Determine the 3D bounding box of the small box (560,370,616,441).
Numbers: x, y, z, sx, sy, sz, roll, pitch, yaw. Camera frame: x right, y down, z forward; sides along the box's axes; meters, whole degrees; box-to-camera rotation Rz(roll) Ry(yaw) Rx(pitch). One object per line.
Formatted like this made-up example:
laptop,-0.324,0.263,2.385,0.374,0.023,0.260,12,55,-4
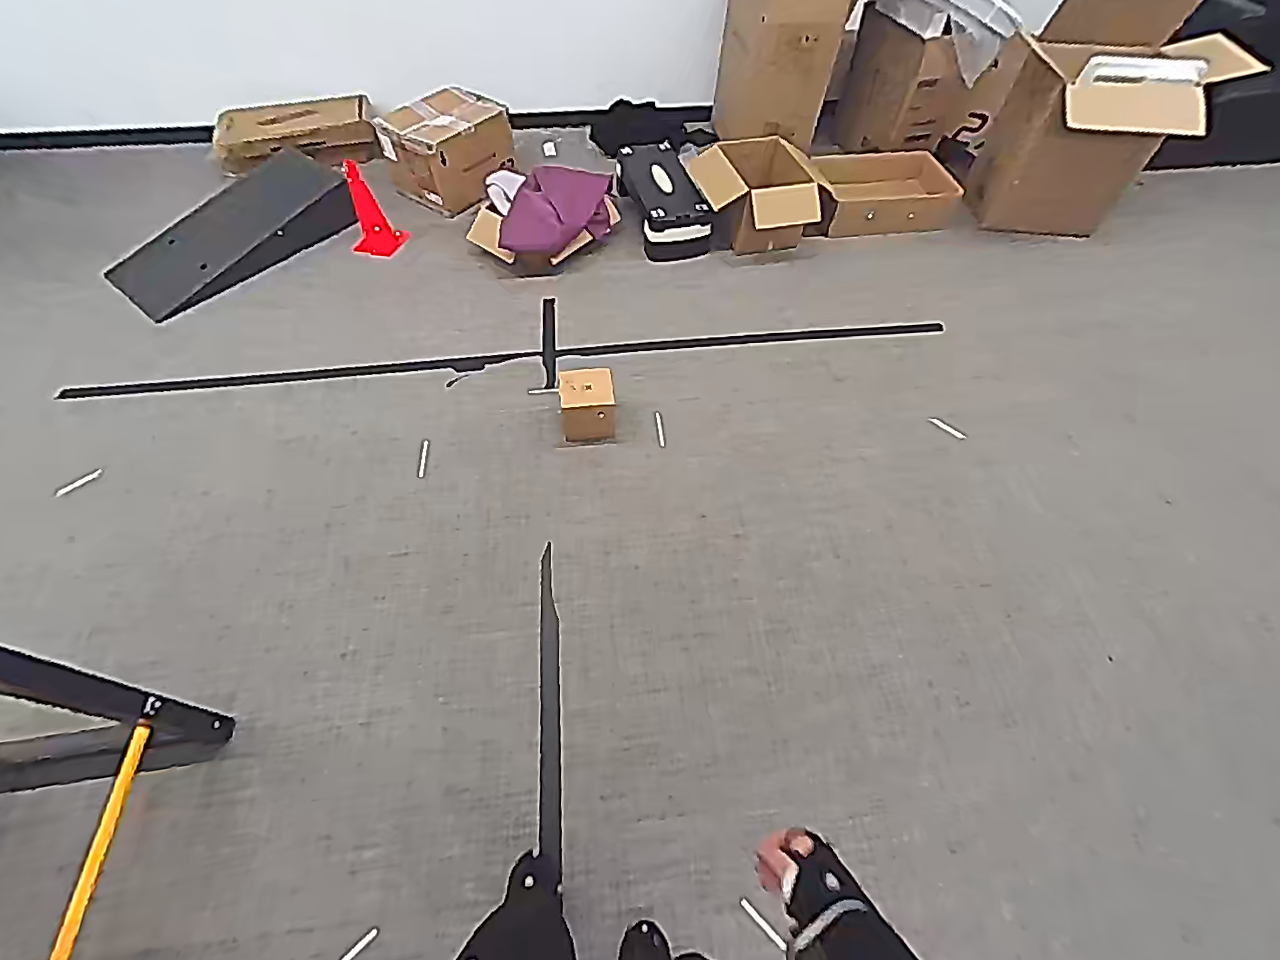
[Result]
small box,-0.175,-0.251,1.839,0.179,0.176,0.168,-6,56,-5
